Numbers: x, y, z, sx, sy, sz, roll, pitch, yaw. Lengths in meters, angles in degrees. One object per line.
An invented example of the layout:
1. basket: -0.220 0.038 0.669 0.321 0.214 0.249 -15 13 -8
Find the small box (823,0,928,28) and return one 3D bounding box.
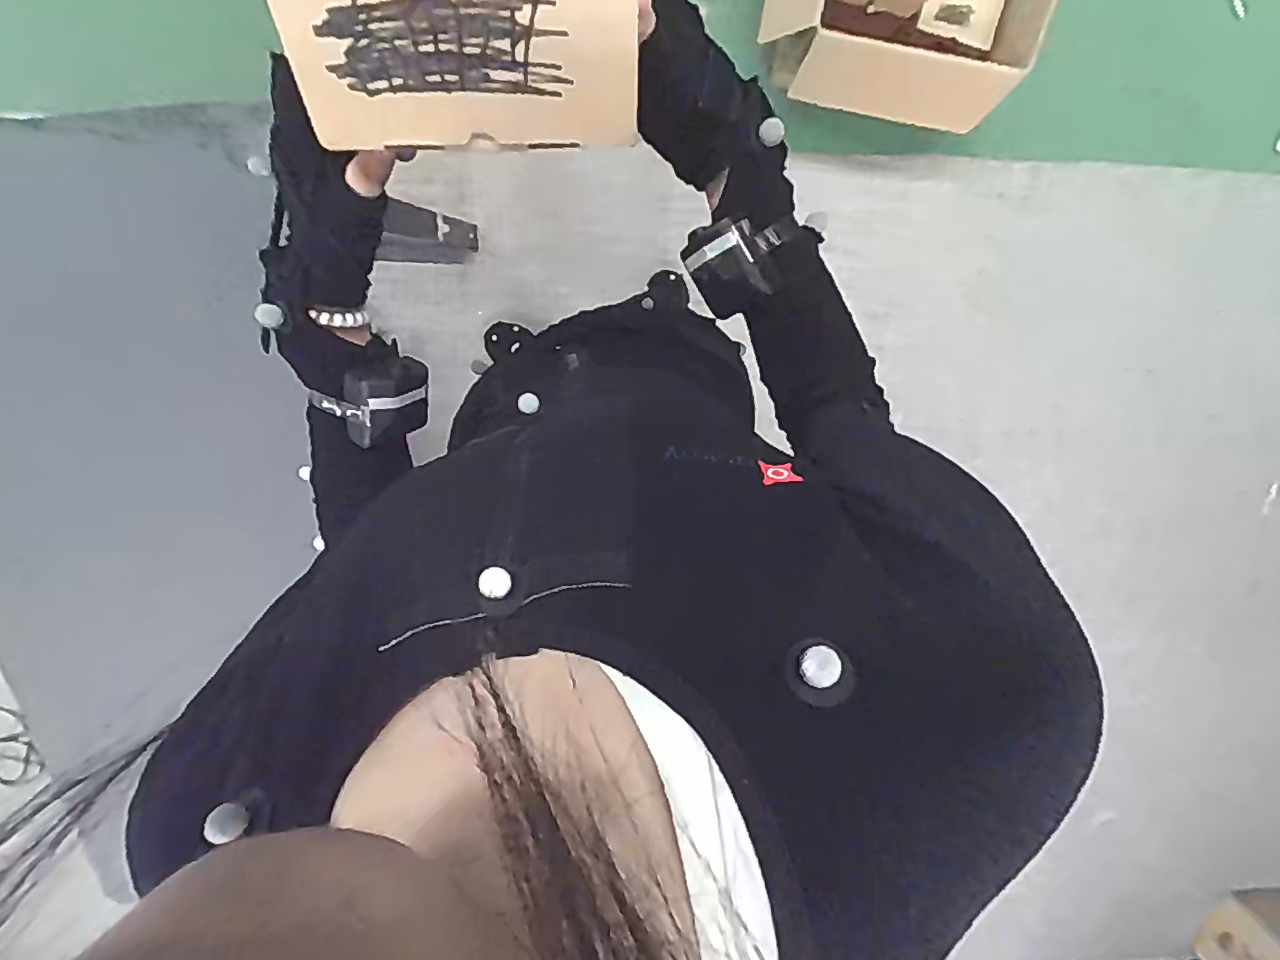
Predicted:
1. small box: 0.435 -0.934 0.928 0.168 0.176 0.179 10 110 -5
